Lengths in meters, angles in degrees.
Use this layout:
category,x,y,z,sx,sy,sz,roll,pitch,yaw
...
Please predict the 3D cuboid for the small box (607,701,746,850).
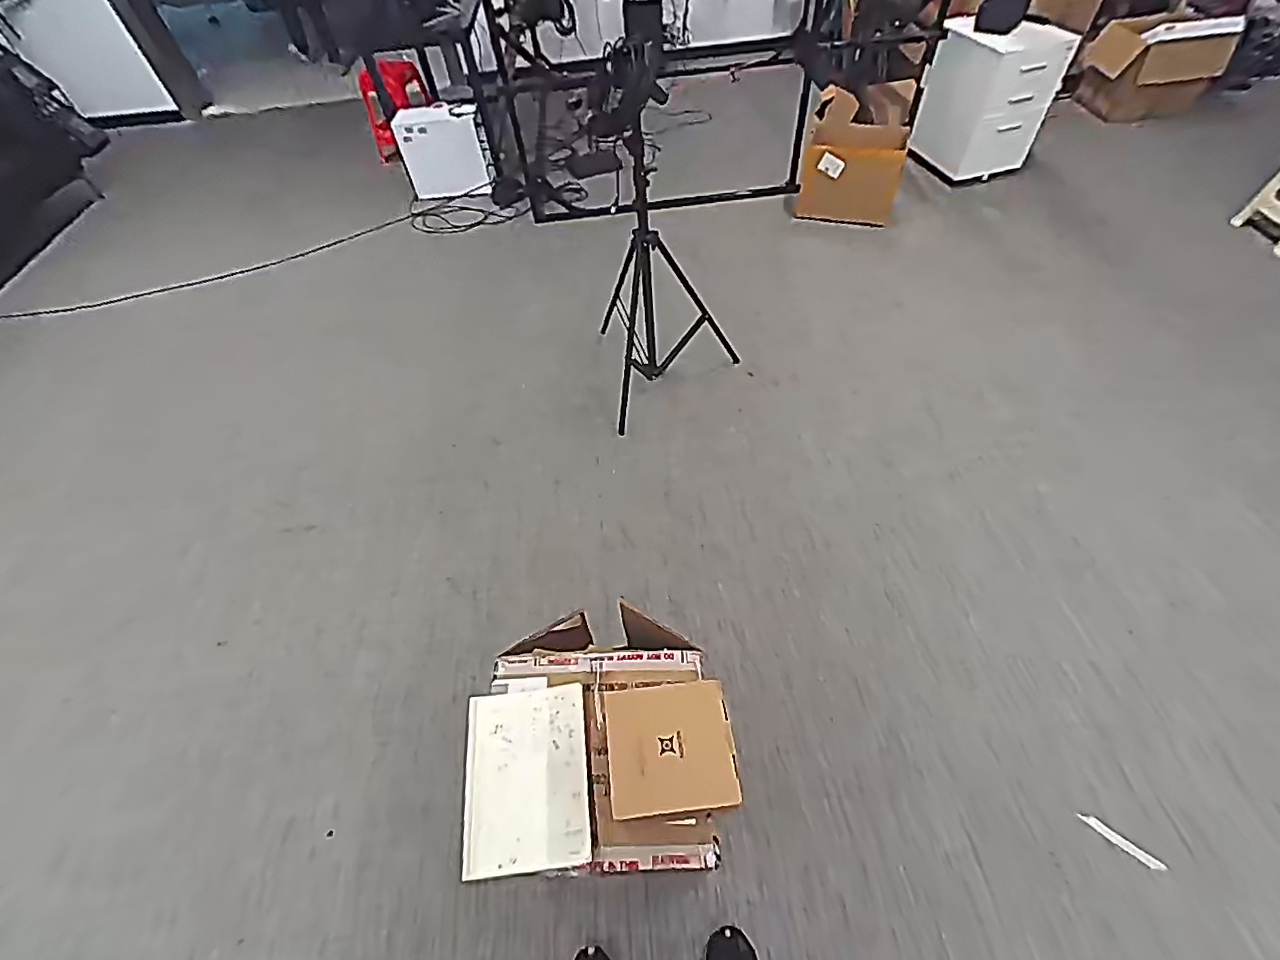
category,x,y,z,sx,sy,sz,roll,pitch,yaw
small box,0.048,0.450,0.819,0.179,0.176,0.168,-7,53,-2
